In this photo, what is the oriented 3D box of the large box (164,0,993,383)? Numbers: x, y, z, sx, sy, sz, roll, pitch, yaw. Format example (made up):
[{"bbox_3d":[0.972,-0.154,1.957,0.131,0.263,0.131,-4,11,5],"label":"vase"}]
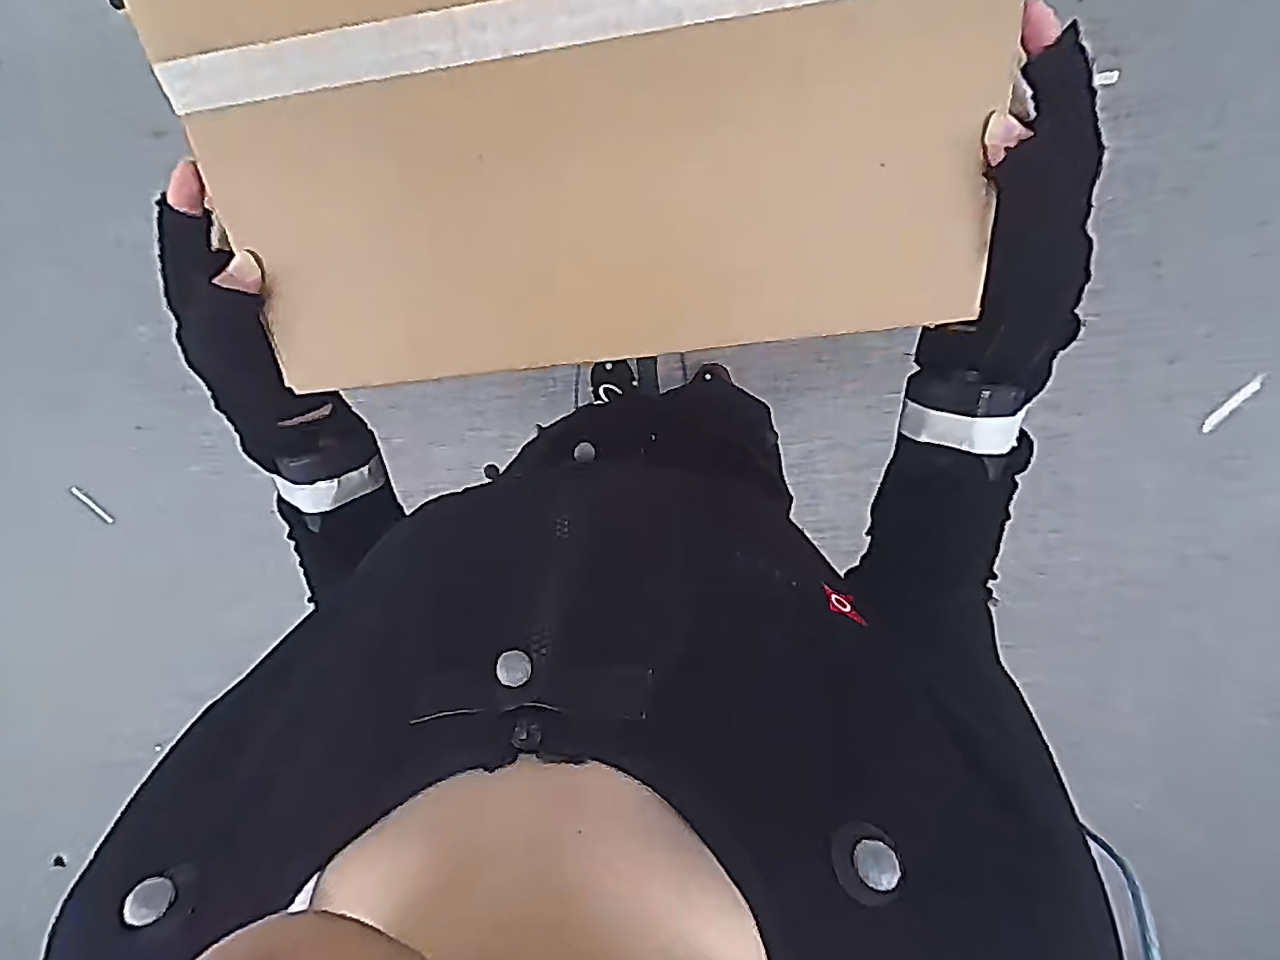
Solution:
[{"bbox_3d":[-0.028,-0.281,0.398,0.408,0.320,0.320,-5,116,5],"label":"large box"}]
